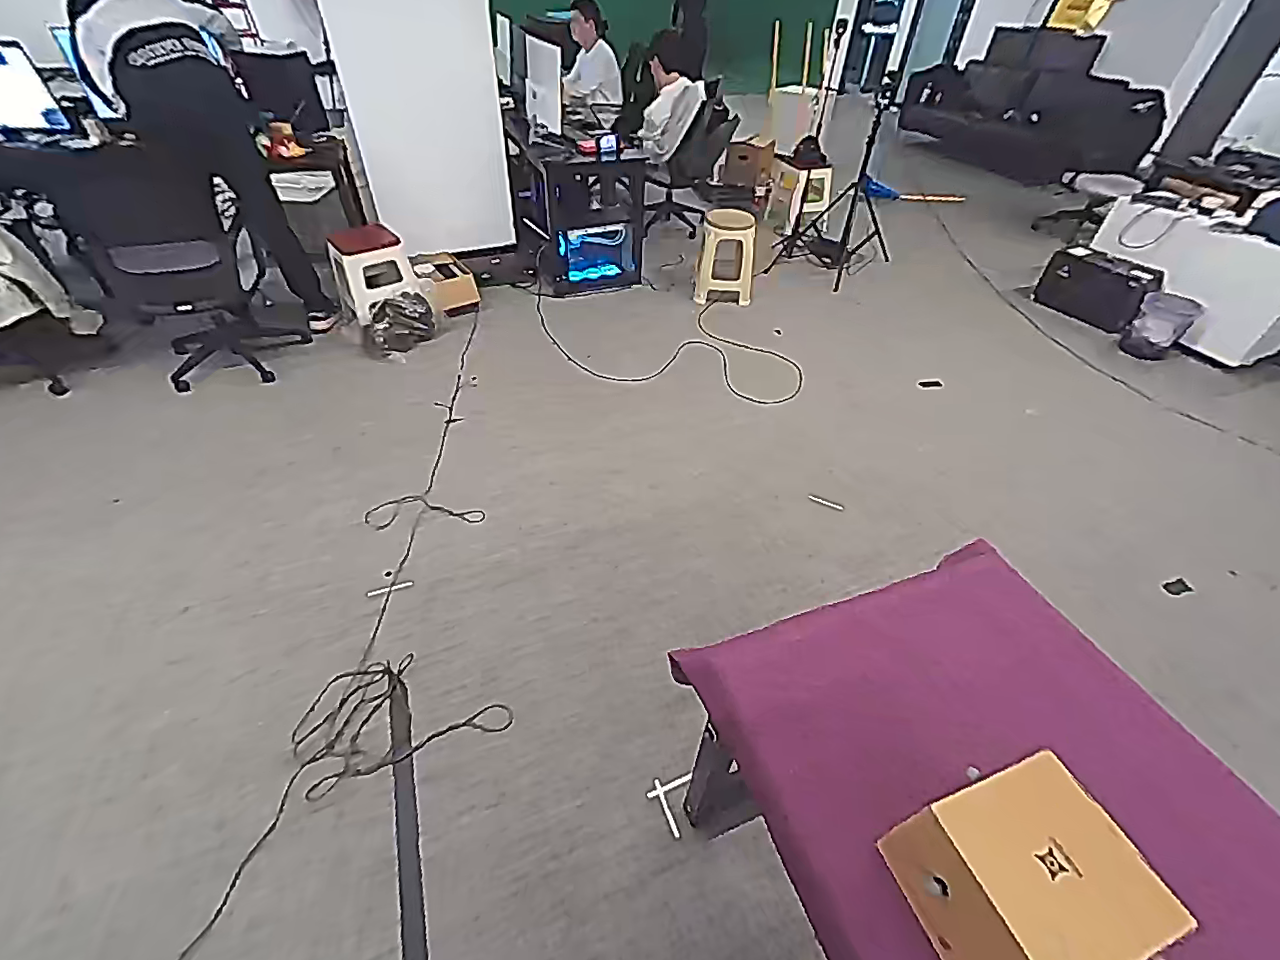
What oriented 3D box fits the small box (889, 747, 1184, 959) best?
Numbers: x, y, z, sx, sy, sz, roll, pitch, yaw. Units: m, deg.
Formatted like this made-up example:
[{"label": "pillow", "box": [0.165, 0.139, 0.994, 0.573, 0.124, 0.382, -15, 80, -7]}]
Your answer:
[{"label": "small box", "box": [0.406, 0.434, 0.596, 0.179, 0.176, 0.168, -12, 46, -17]}]
